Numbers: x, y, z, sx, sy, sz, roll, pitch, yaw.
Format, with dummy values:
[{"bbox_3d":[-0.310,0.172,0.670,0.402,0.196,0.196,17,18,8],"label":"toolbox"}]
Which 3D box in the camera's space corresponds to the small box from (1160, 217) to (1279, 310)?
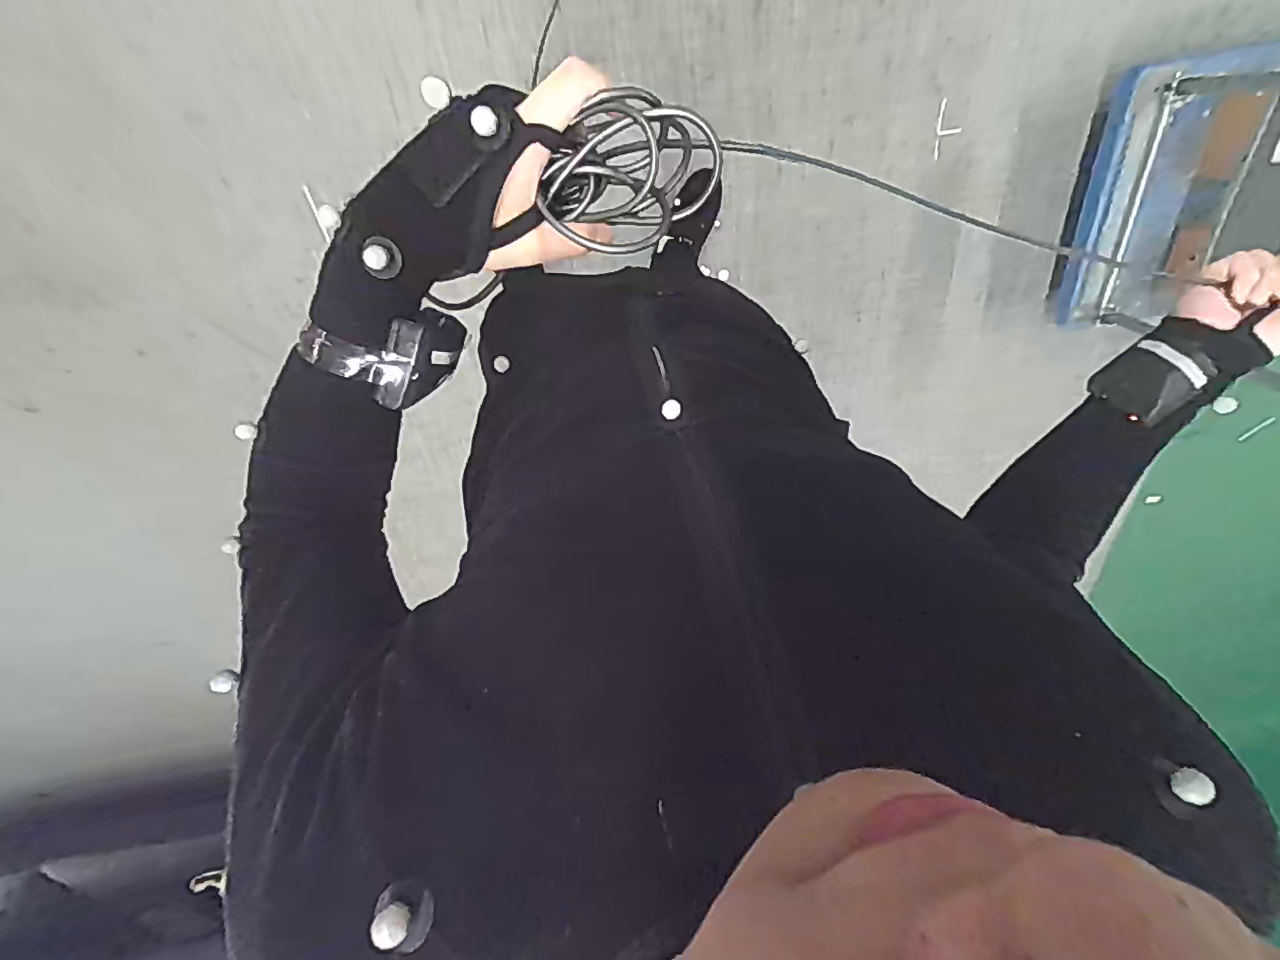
[{"bbox_3d":[1.424,-0.520,1.289,0.179,0.176,0.168,-8,123,1],"label":"small box"}]
